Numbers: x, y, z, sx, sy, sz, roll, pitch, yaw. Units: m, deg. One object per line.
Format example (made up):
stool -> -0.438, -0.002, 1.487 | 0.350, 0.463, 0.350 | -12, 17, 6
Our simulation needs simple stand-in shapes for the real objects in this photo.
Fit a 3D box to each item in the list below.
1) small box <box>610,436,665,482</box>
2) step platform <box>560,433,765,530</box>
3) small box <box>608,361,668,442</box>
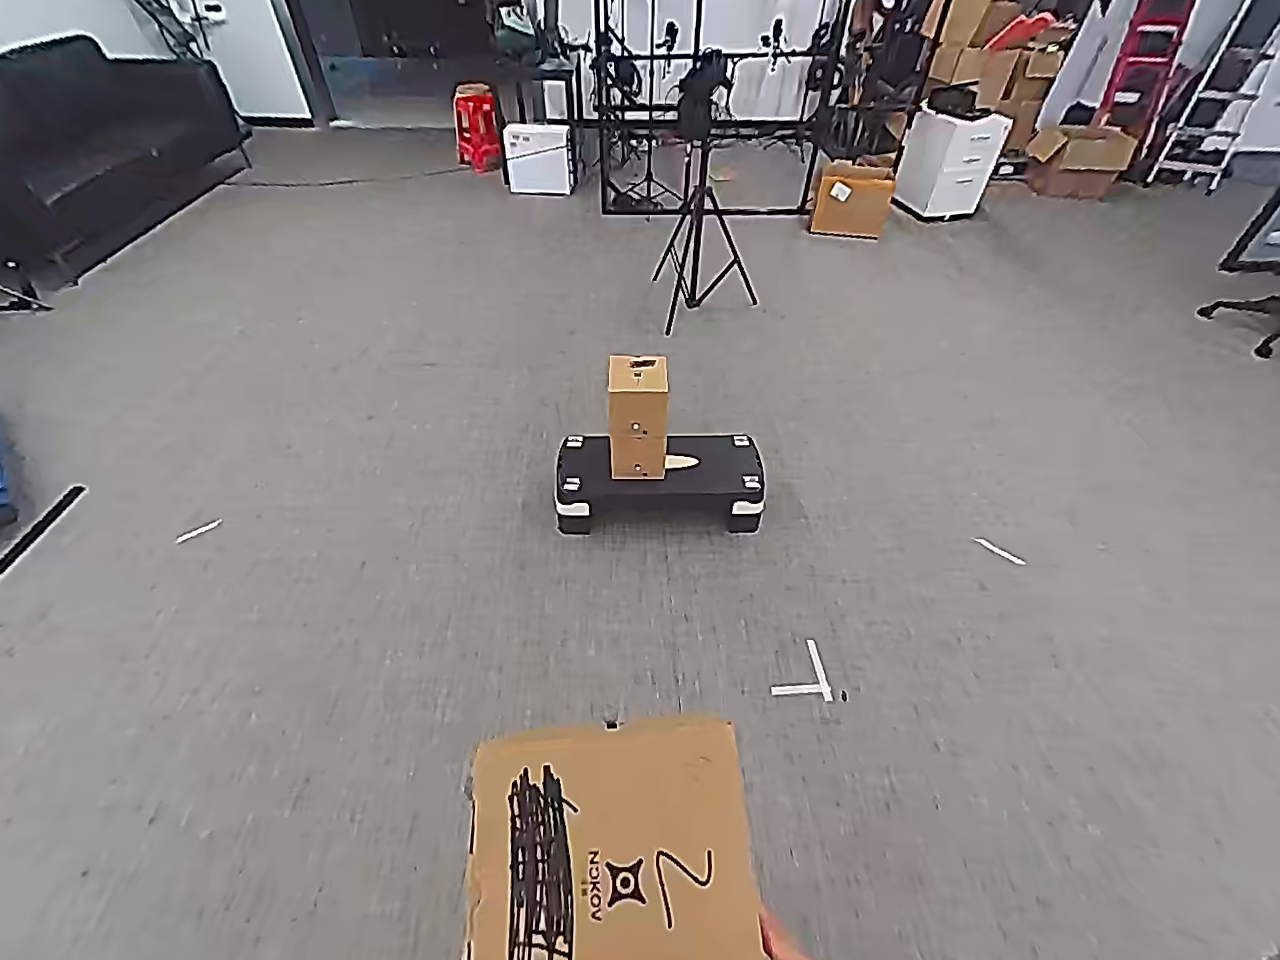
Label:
small box -> -0.008, -0.111, 1.701 | 0.168, 0.176, 0.179 | 0, 45, 0
step platform -> 0.073, -0.001, 1.838 | 0.684, 0.204, 0.286 | -1, 44, -1
small box -> -0.008, -0.231, 1.588 | 0.168, 0.176, 0.179 | 0, 45, -1
